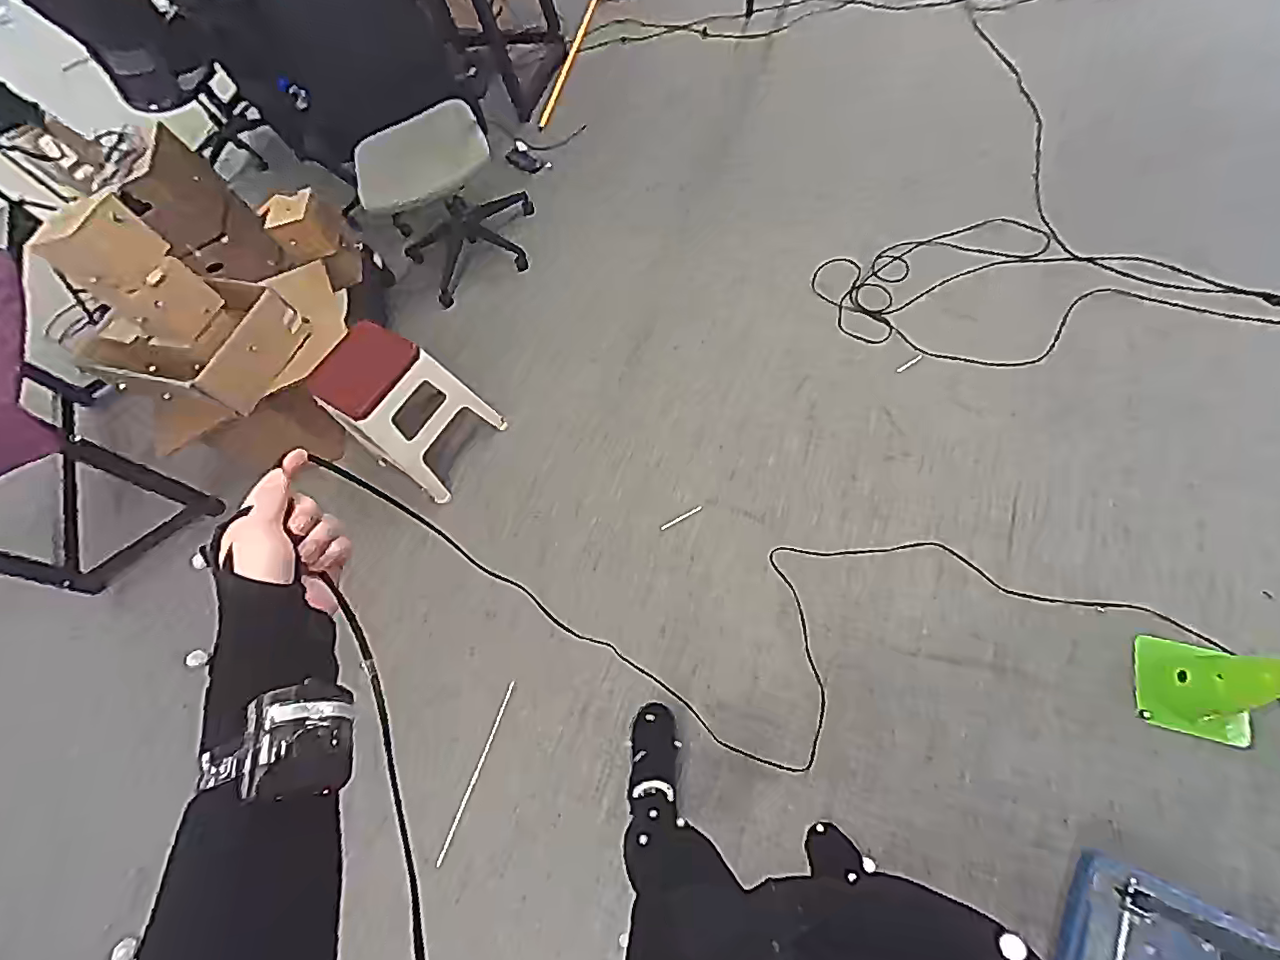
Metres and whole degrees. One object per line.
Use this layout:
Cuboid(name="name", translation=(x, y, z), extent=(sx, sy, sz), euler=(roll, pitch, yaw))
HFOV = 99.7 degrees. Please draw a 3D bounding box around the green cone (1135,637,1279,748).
Cuboid(name="green cone", translation=(1.195, 0.390, 1.056), extent=(0.200, 0.368, 0.202), euler=(10, 66, 19))
